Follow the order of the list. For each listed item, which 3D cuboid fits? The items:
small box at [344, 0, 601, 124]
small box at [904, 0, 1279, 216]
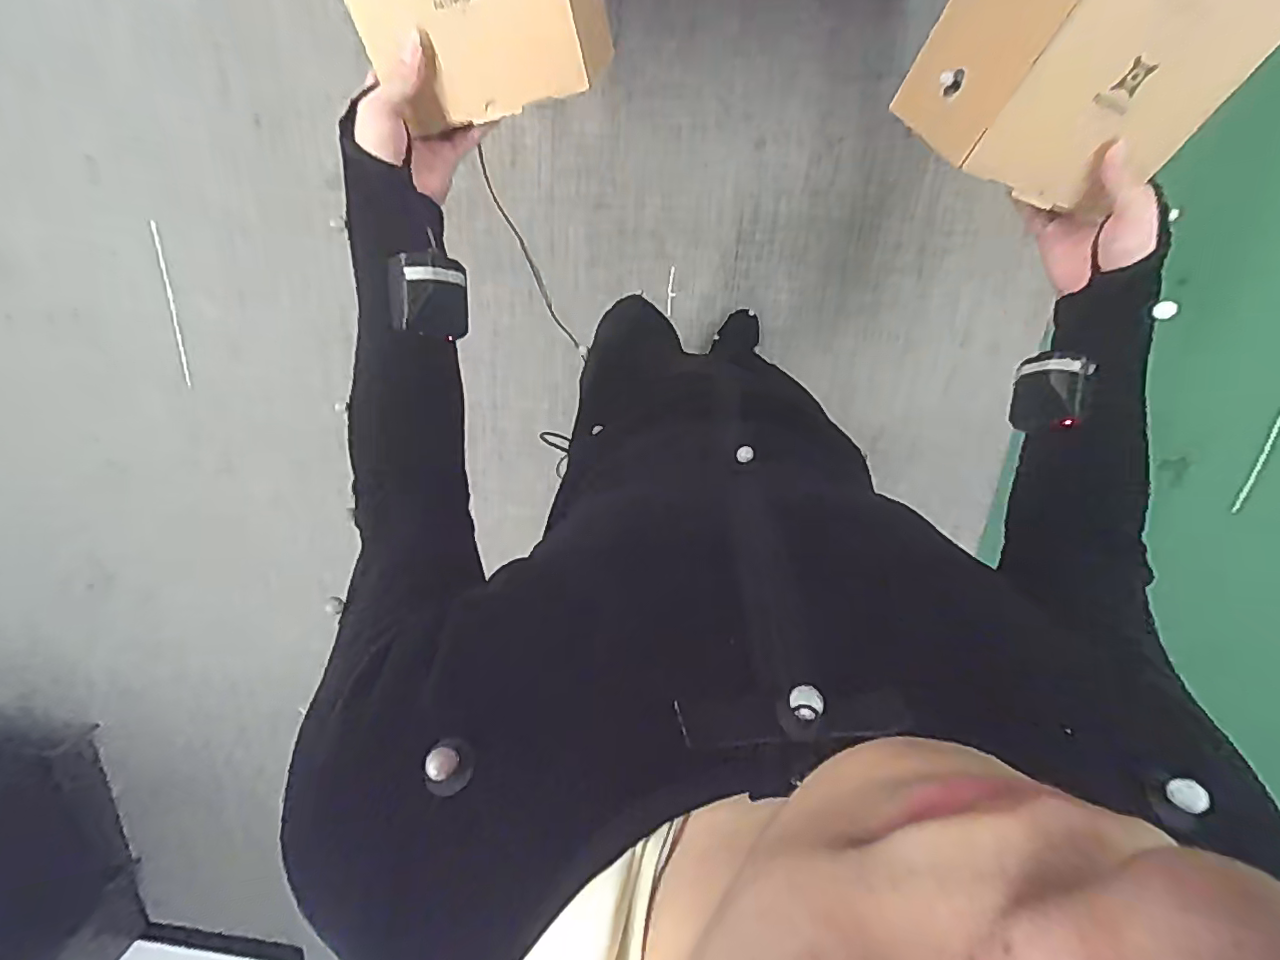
[{"bbox_3d":[-0.136,-0.422,0.436,0.168,0.176,0.179,-7,134,11],"label":"small box"},{"bbox_3d":[0.350,-0.360,0.446,0.168,0.176,0.179,10,137,-15],"label":"small box"}]
